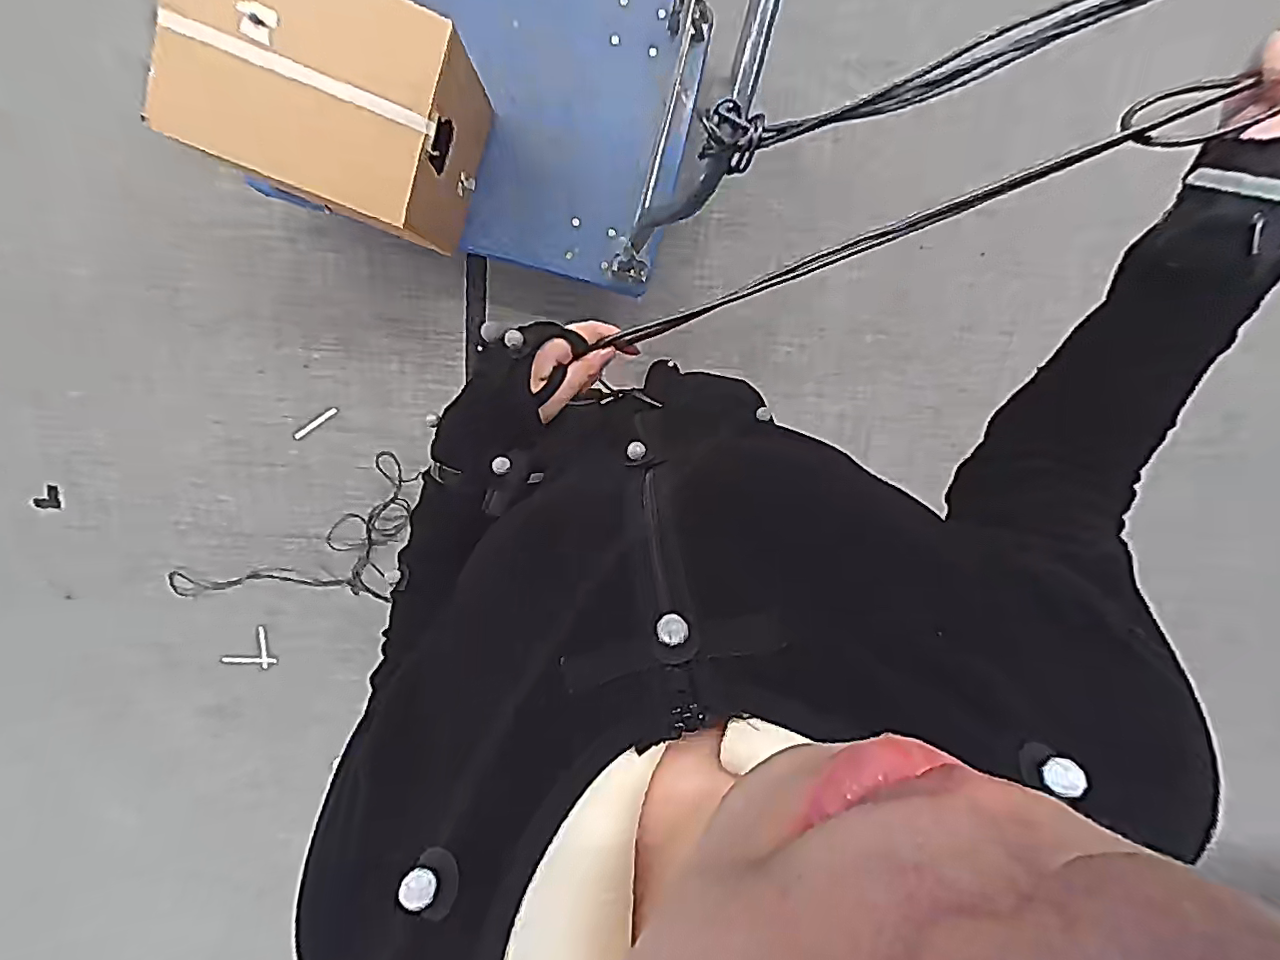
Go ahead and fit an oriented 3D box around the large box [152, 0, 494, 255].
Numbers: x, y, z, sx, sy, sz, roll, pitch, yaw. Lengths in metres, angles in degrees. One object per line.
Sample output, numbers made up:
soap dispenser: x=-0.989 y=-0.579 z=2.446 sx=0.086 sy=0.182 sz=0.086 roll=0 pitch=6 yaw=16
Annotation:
large box: x=-0.522 y=-0.642 z=0.967 sx=0.408 sy=0.320 sz=0.320 roll=19 pitch=102 yaw=-7
